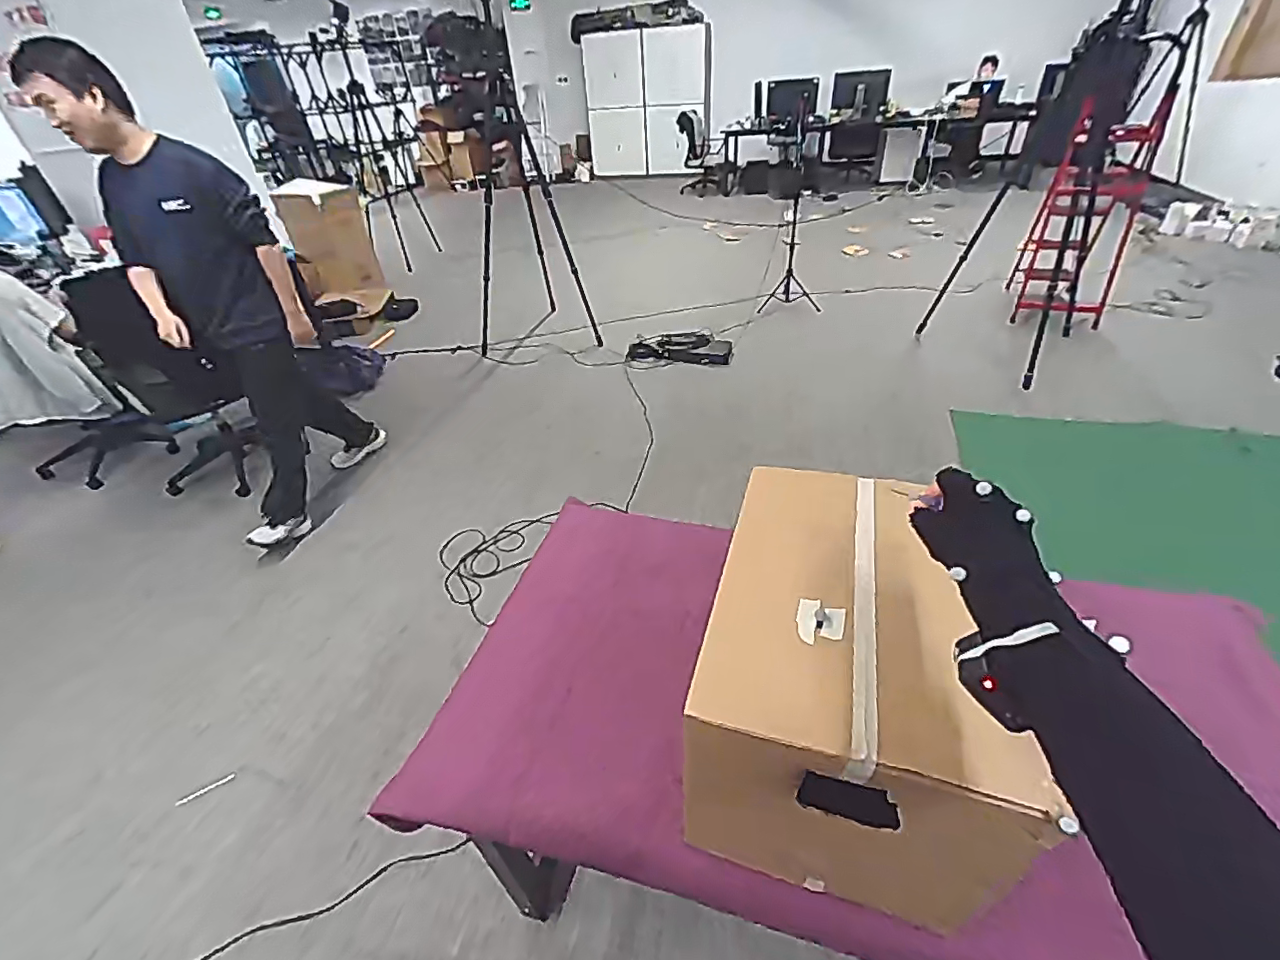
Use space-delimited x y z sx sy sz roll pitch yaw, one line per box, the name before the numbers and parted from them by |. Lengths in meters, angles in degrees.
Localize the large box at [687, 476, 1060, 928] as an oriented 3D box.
large box | 0.256 0.252 0.706 0.320 0.320 0.408 9 39 17
